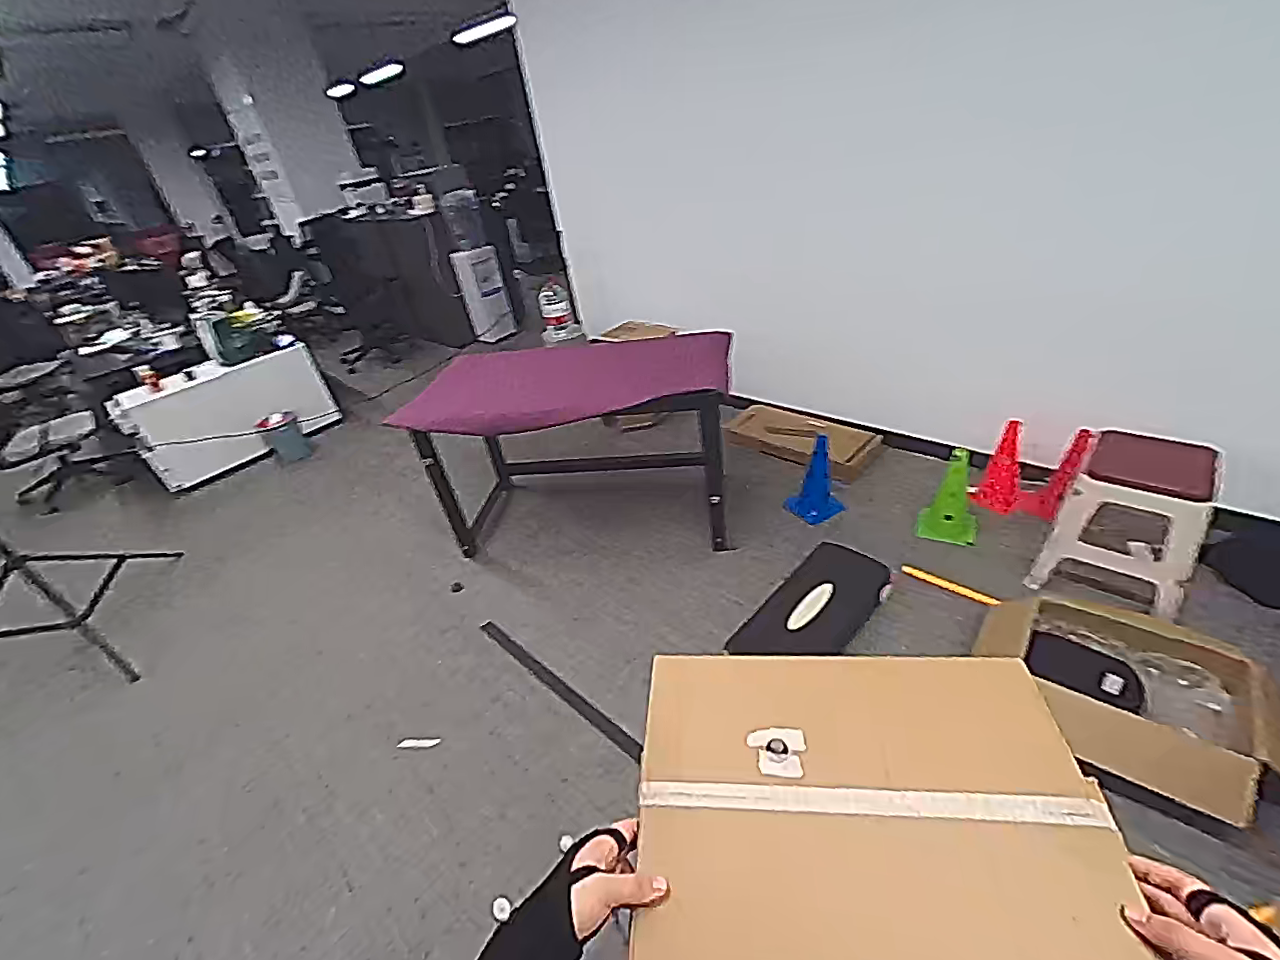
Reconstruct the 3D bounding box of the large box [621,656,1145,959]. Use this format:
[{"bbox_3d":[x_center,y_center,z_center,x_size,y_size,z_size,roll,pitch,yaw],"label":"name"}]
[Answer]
[{"bbox_3d":[0.216,0.421,0.602,0.408,0.320,0.320,-4,38,10],"label":"large box"}]
